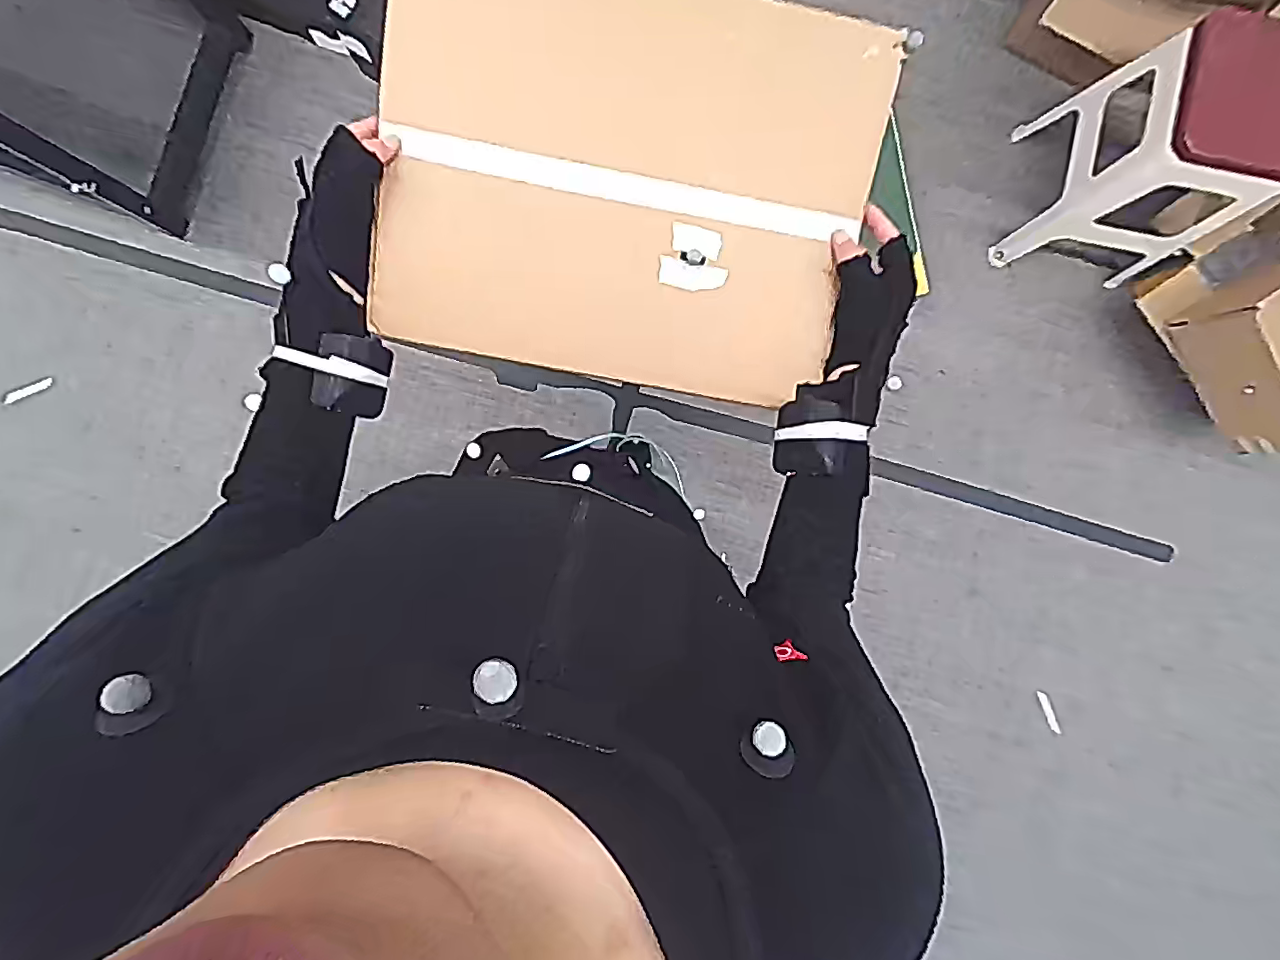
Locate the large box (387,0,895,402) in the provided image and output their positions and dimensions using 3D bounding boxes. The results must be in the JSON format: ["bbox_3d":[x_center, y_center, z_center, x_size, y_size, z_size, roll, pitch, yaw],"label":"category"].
[{"bbox_3d":[-0.015,-0.281,0.608,0.408,0.320,0.320,10,103,-5],"label":"large box"}]
